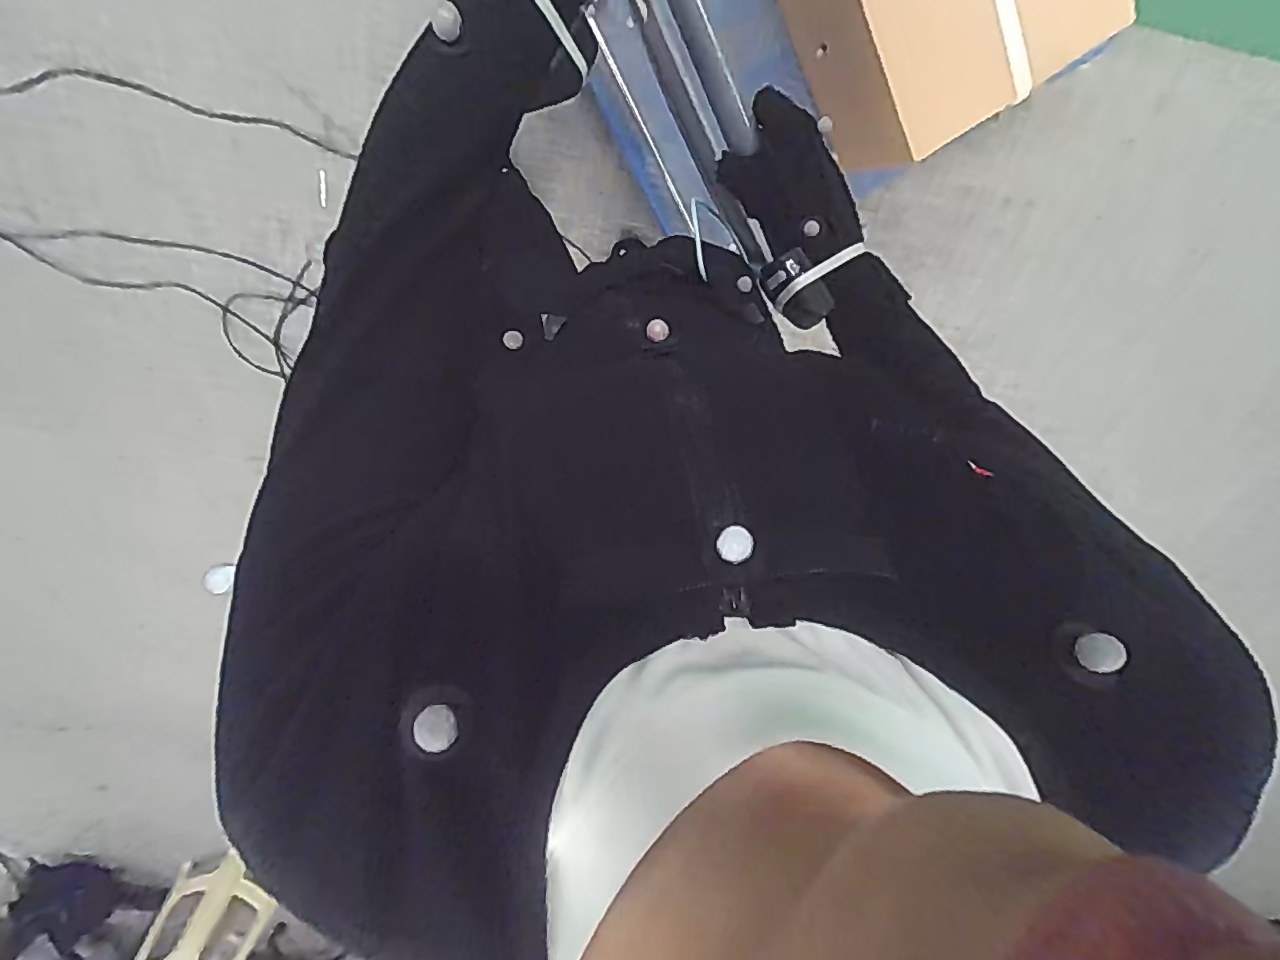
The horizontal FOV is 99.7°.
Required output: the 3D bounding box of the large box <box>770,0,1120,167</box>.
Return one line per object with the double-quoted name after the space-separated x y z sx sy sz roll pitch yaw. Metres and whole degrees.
0.416 -0.767 0.825 0.320 0.320 0.408 -30 114 12 "large box"
